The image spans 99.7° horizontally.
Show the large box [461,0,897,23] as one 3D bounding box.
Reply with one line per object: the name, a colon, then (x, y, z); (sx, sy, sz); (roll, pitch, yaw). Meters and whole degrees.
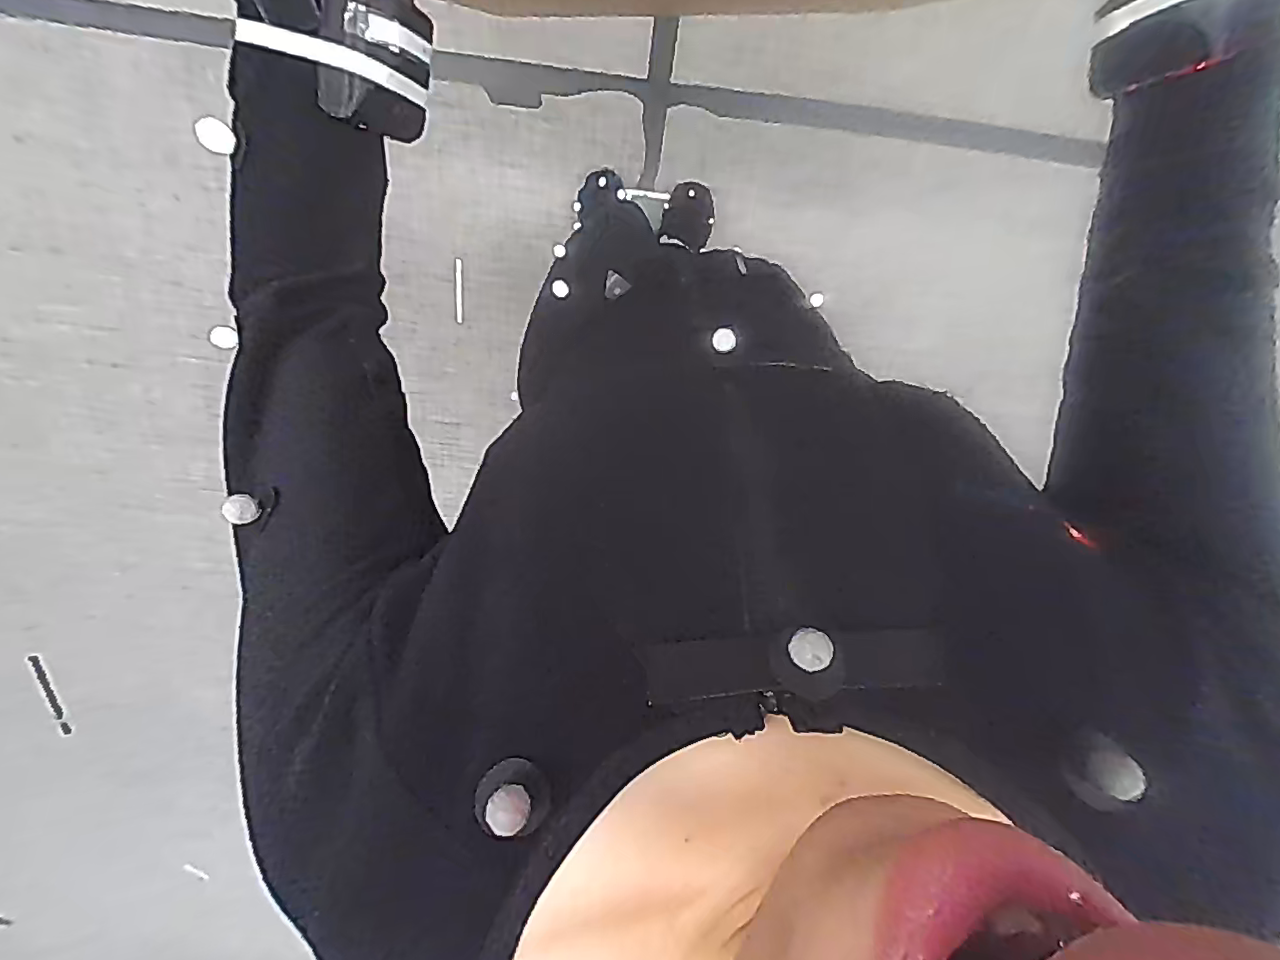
large box: (0.054, -0.502, 0.333); (0.408, 0.320, 0.320); (-2, 128, 0)
